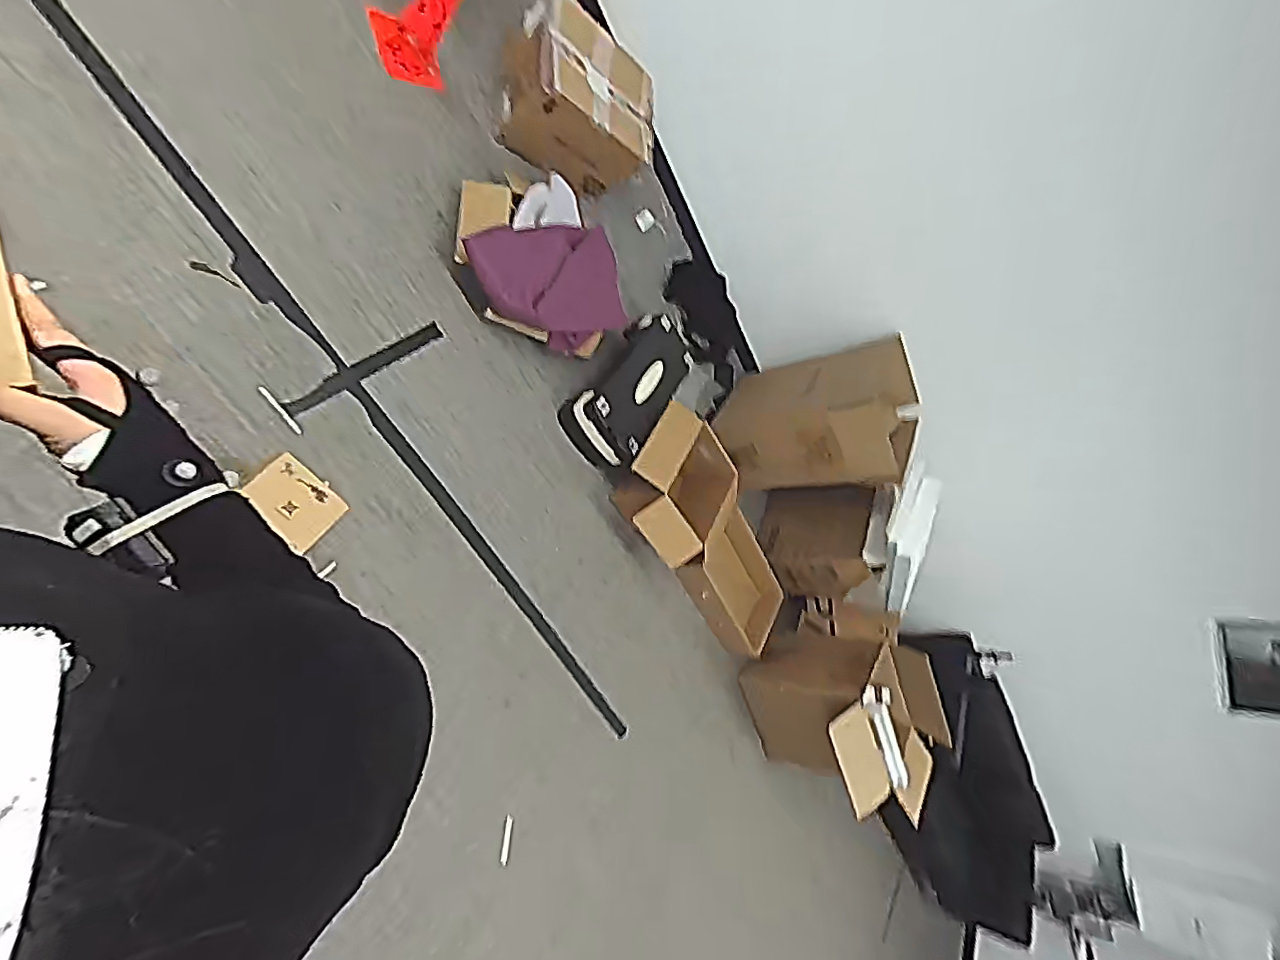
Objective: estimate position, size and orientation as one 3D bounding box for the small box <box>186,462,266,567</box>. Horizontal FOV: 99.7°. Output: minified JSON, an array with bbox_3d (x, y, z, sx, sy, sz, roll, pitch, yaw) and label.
[{"bbox_3d":[-0.874,0.079,1.229,0.179,0.176,0.168,55,48,-27],"label":"small box"}]

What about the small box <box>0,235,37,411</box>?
[{"bbox_3d":[-0.534,-0.127,0.347,0.179,0.176,0.168,-15,101,-47],"label":"small box"}]

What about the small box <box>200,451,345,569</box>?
[{"bbox_3d":[-0.759,0.066,1.113,0.168,0.176,0.179,54,49,-28],"label":"small box"}]
